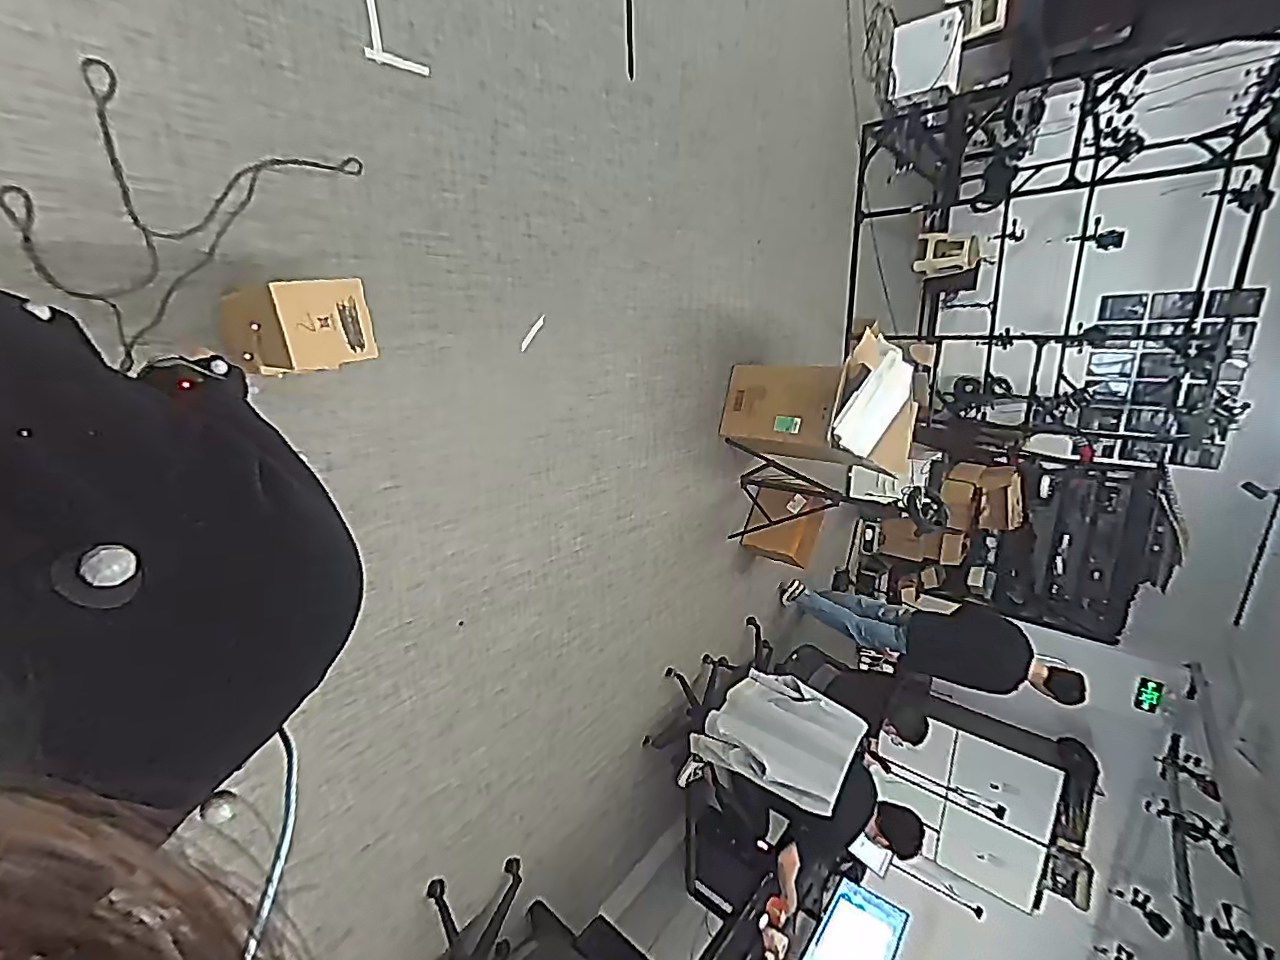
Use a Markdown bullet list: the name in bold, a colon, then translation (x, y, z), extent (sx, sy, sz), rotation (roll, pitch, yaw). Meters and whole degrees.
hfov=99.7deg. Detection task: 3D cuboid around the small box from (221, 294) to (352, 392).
- **small box**: translation (-0.790, -0.310, 1.222), extent (0.179, 0.176, 0.168), rotation (-45, 152, -58)
